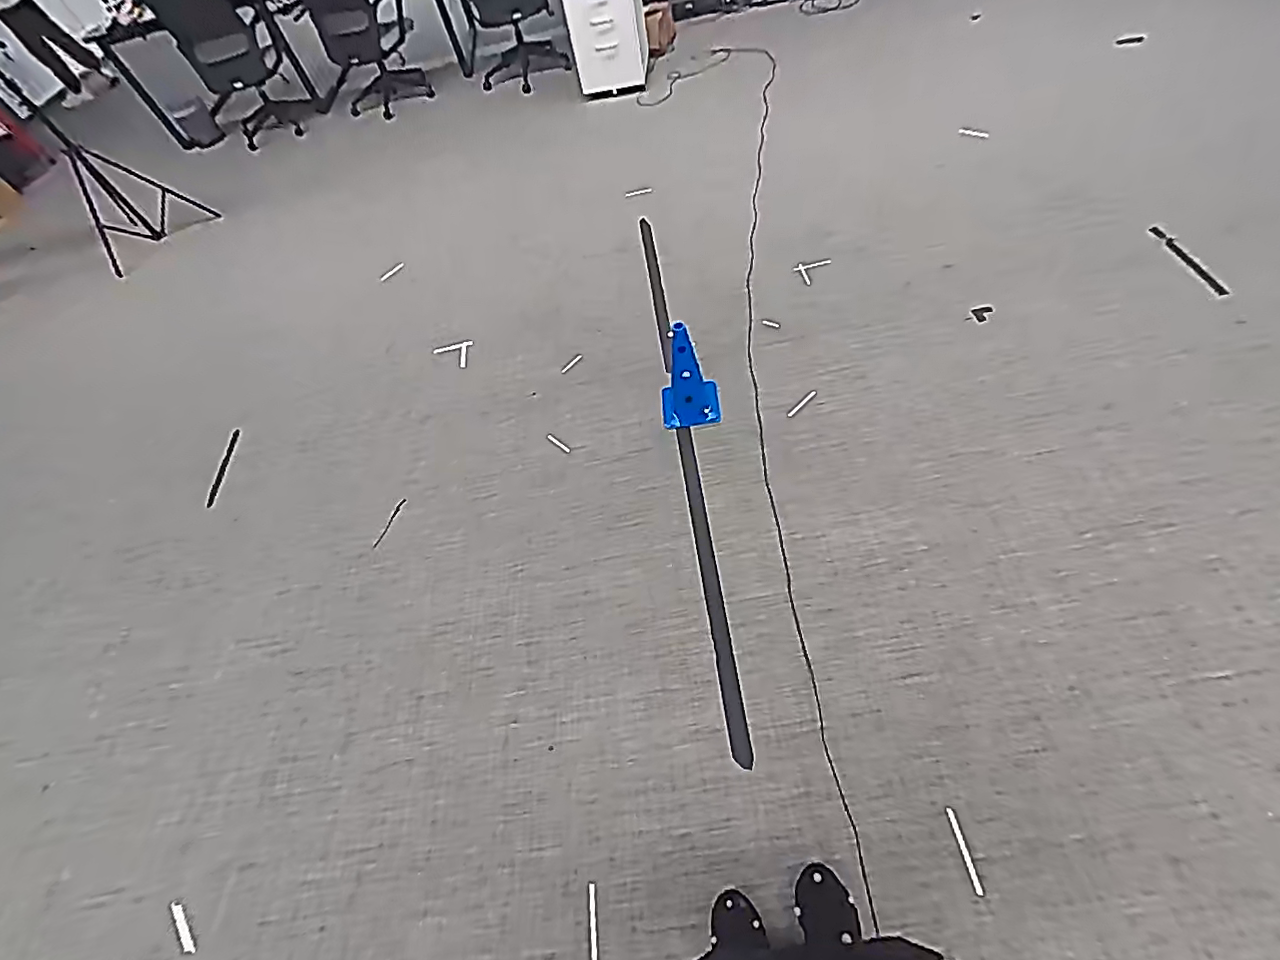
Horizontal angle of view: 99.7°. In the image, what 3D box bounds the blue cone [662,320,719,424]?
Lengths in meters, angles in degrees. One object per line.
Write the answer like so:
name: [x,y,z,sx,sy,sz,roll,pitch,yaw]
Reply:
blue cone: [0.148,-0.372,1.776,0.193,0.380,0.192,-8,54,6]
